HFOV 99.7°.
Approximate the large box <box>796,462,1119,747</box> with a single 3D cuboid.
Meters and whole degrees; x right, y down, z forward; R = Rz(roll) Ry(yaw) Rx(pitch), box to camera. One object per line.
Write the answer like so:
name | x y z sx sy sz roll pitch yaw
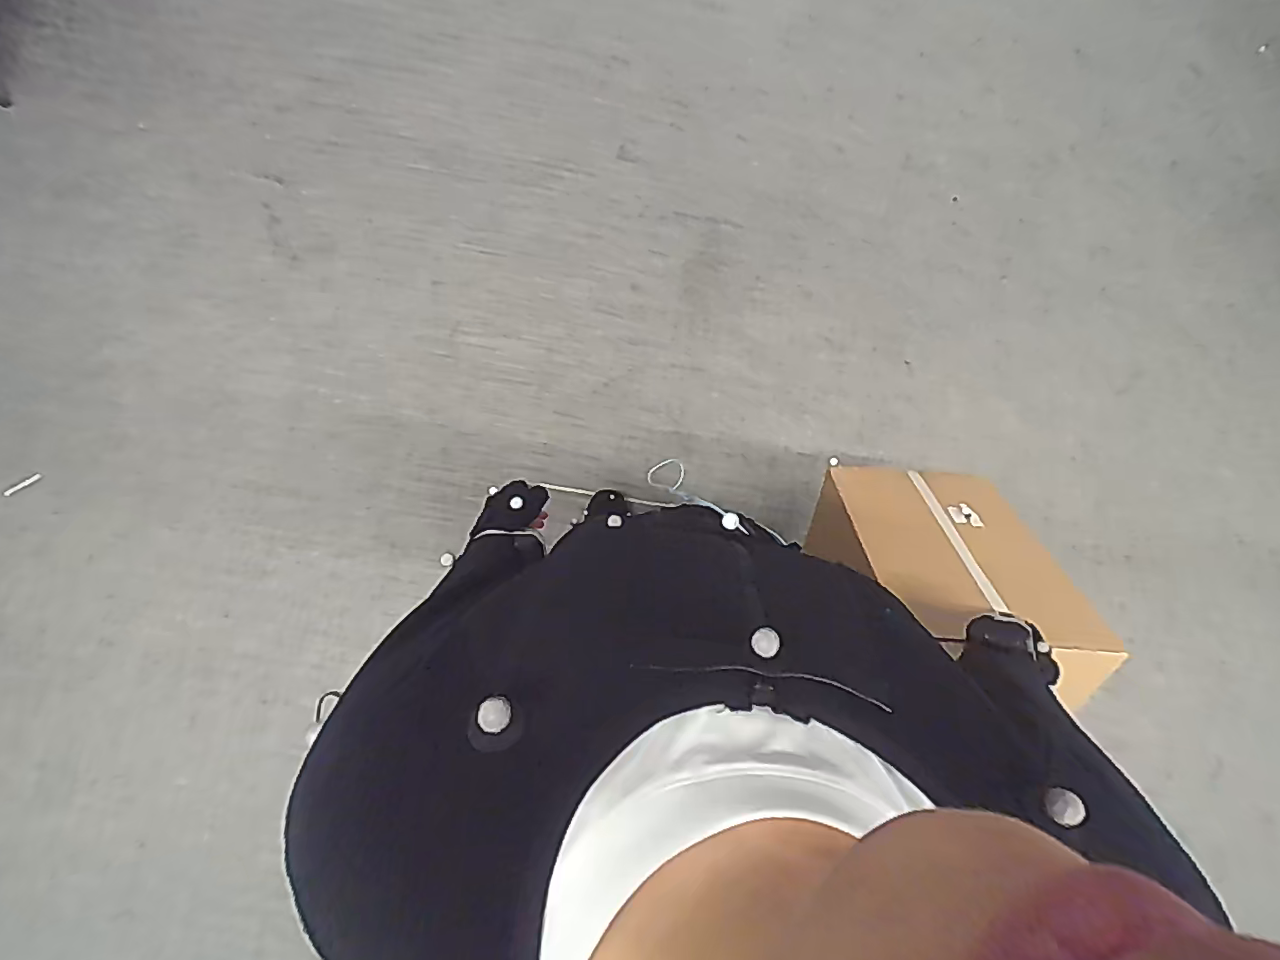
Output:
large box | 0.502 0.211 0.979 0.320 0.408 0.320 4 126 -1
